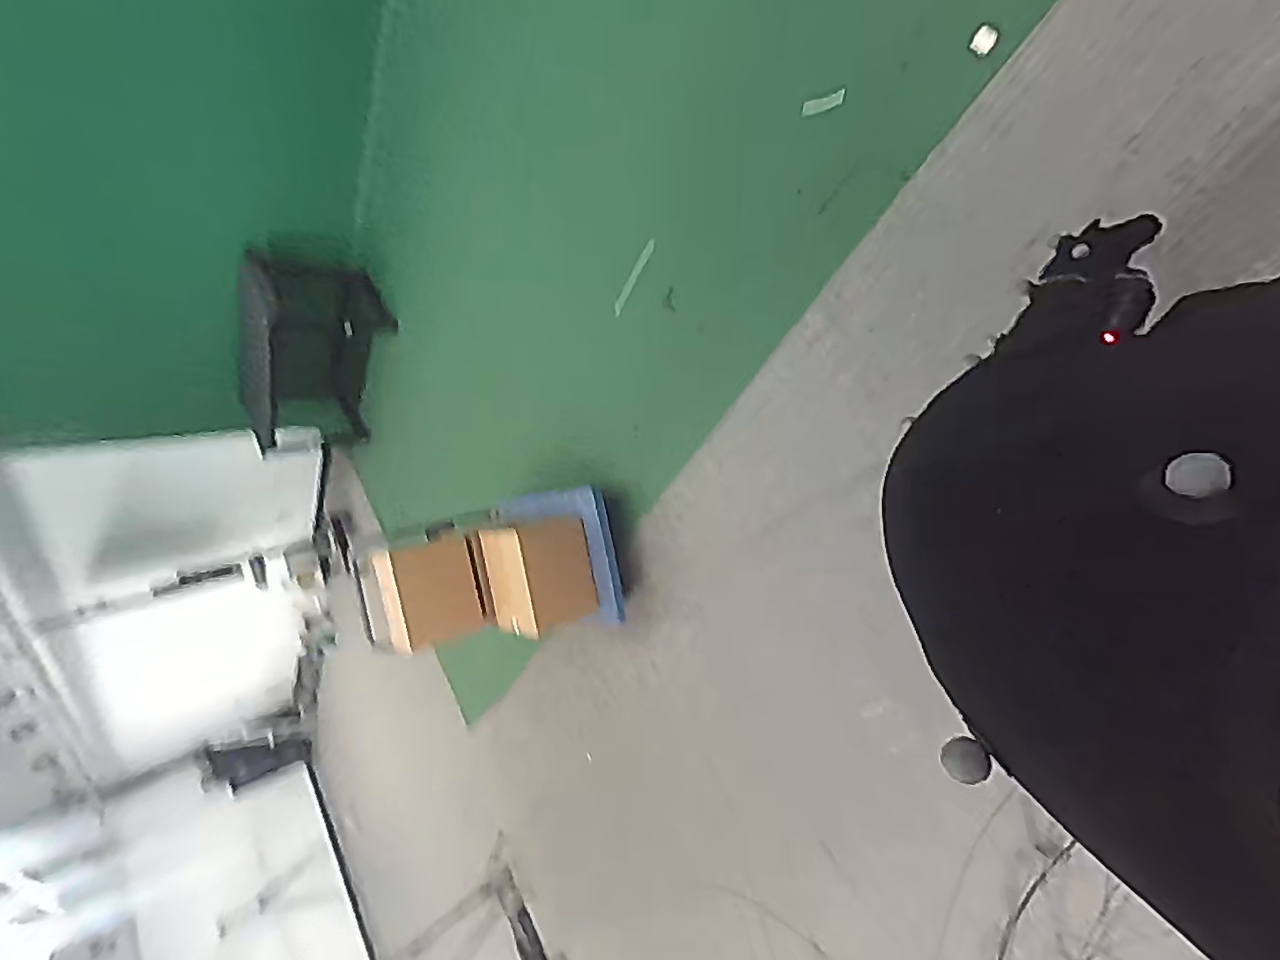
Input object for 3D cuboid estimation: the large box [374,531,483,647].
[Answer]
[{"bbox_3d":[-0.897,0.448,2.291,0.320,0.320,0.408,-11,90,52],"label":"large box"}]
